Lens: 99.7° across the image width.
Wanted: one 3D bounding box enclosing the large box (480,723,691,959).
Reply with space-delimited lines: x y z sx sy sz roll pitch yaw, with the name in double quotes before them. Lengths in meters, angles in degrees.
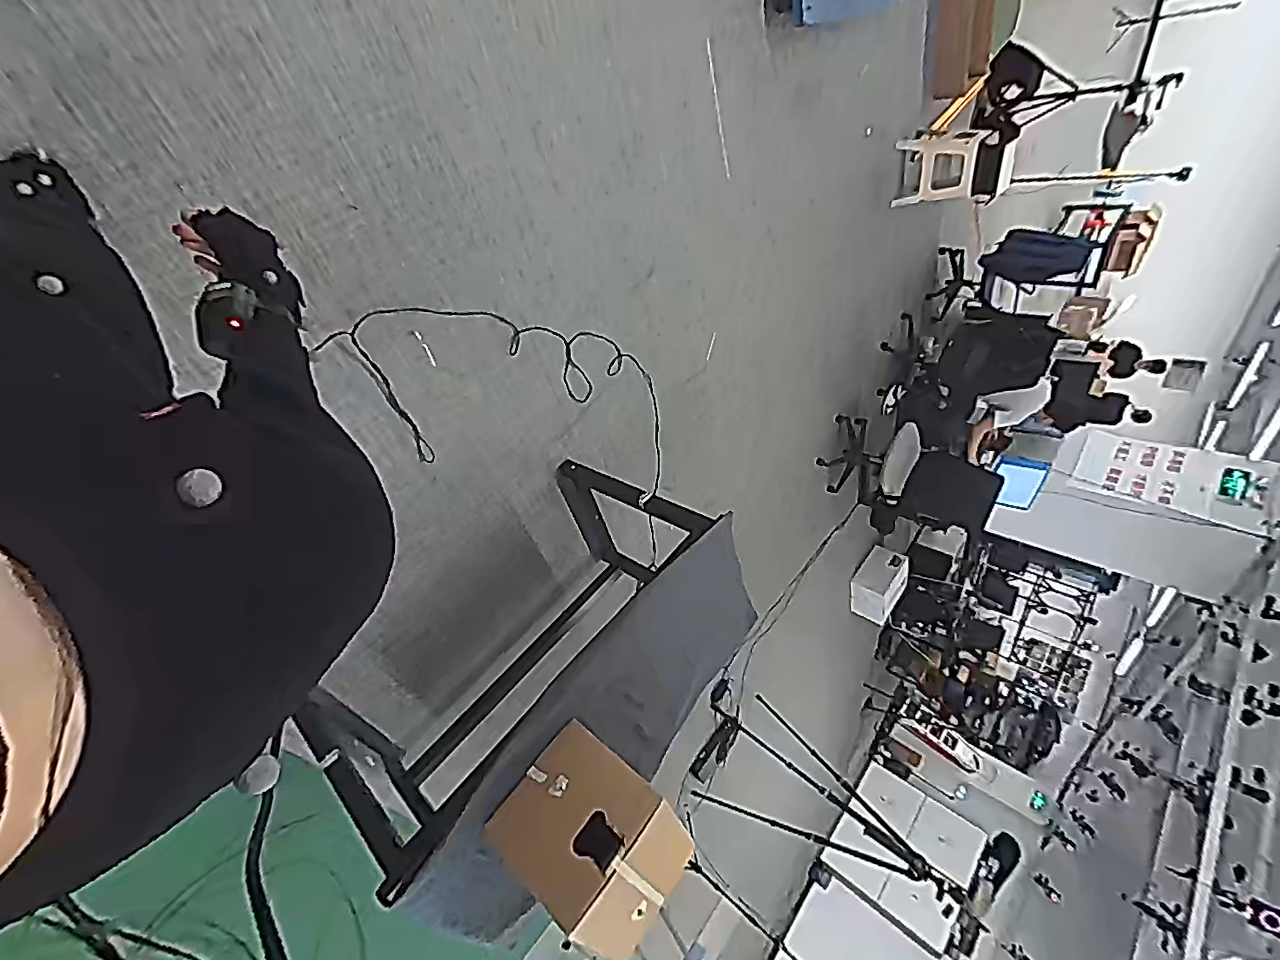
"large box" -0.117 0.881 1.332 0.320 0.320 0.408 -45 138 -27
